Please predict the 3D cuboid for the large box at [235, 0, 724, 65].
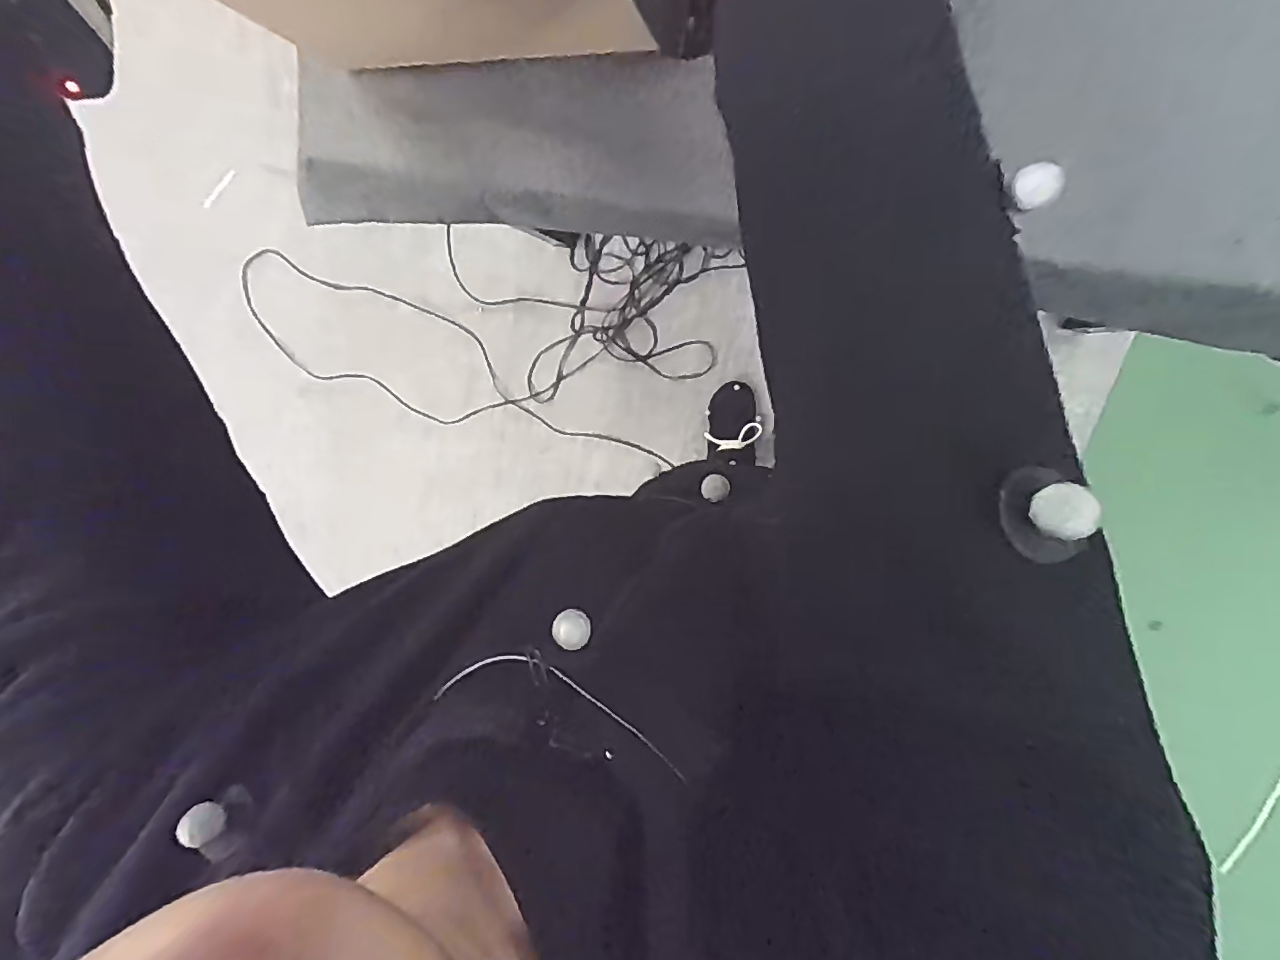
[{"bbox_3d":[-0.147,-0.518,0.341,0.408,0.320,0.320,4,109,10],"label":"large box"}]
